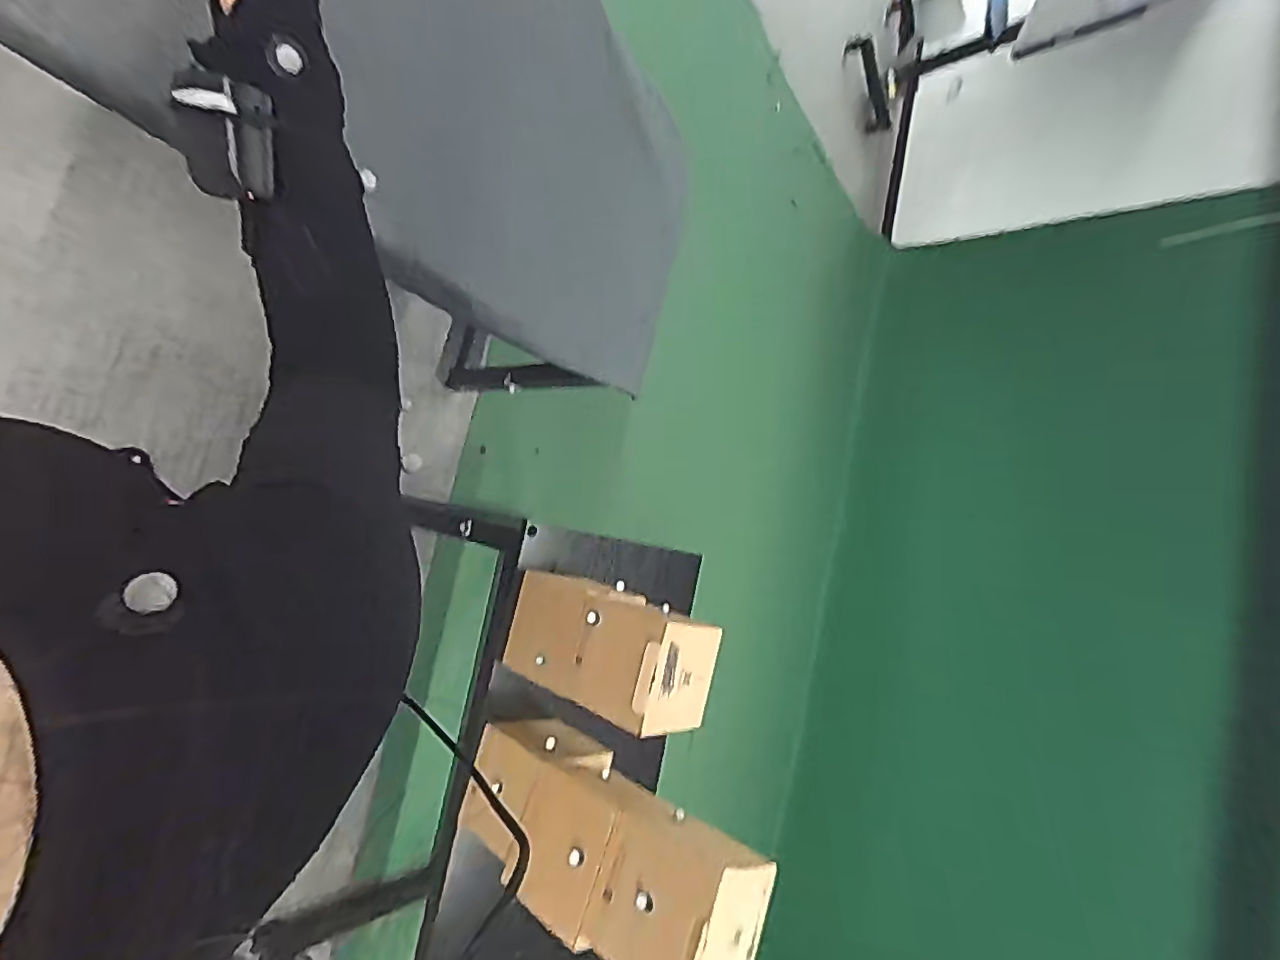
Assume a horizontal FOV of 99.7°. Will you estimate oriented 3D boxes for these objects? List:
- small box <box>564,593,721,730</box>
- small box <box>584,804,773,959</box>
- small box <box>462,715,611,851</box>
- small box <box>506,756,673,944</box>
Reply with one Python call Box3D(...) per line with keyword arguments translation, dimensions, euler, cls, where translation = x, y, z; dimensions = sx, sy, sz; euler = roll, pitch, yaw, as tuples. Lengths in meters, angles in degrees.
Box3D(translation=(0.003, 0.291, 0.891), dimensions=(0.179, 0.176, 0.168), euler=(24, 79, -49), cls="small box")
Box3D(translation=(0.053, 0.572, 0.744), dimensions=(0.179, 0.176, 0.168), euler=(40, 66, -43), cls="small box")
Box3D(translation=(-0.186, 0.534, 0.962), dimensions=(0.179, 0.176, 0.168), euler=(25, 77, -48), cls="small box")
Box3D(translation=(-0.080, 0.558, 0.839), dimensions=(0.168, 0.176, 0.179), euler=(36, 68, -45), cls="small box")
